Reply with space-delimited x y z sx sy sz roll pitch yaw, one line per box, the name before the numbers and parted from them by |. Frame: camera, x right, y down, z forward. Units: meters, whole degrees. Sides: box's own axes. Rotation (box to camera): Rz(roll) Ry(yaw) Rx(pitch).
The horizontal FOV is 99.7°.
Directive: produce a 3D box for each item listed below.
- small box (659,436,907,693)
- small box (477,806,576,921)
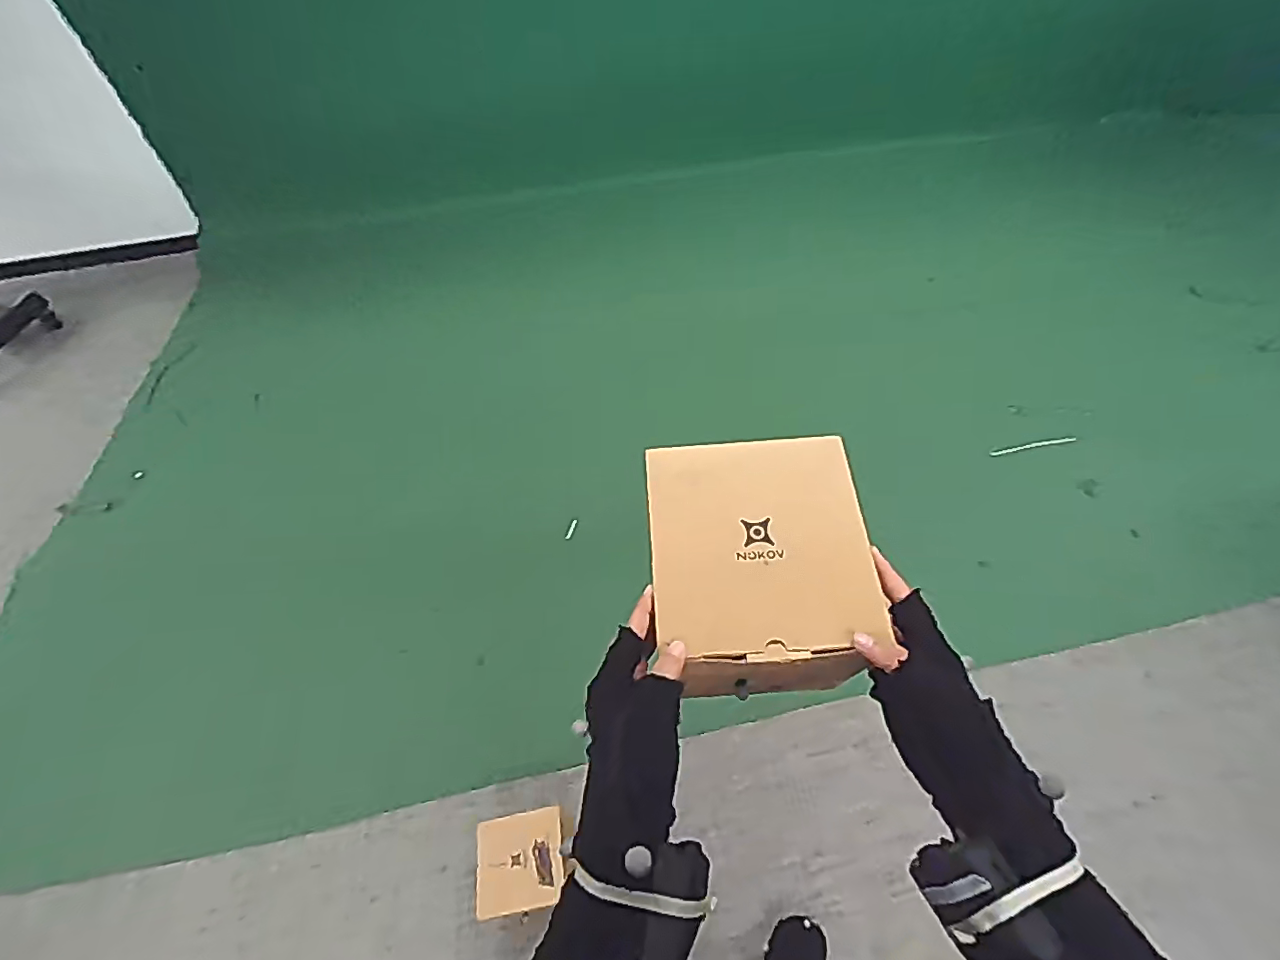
small box | 0.103 0.082 0.482 0.168 0.176 0.179 -4 61 2
small box | -0.234 0.808 1.142 0.179 0.176 0.168 -10 51 -4
